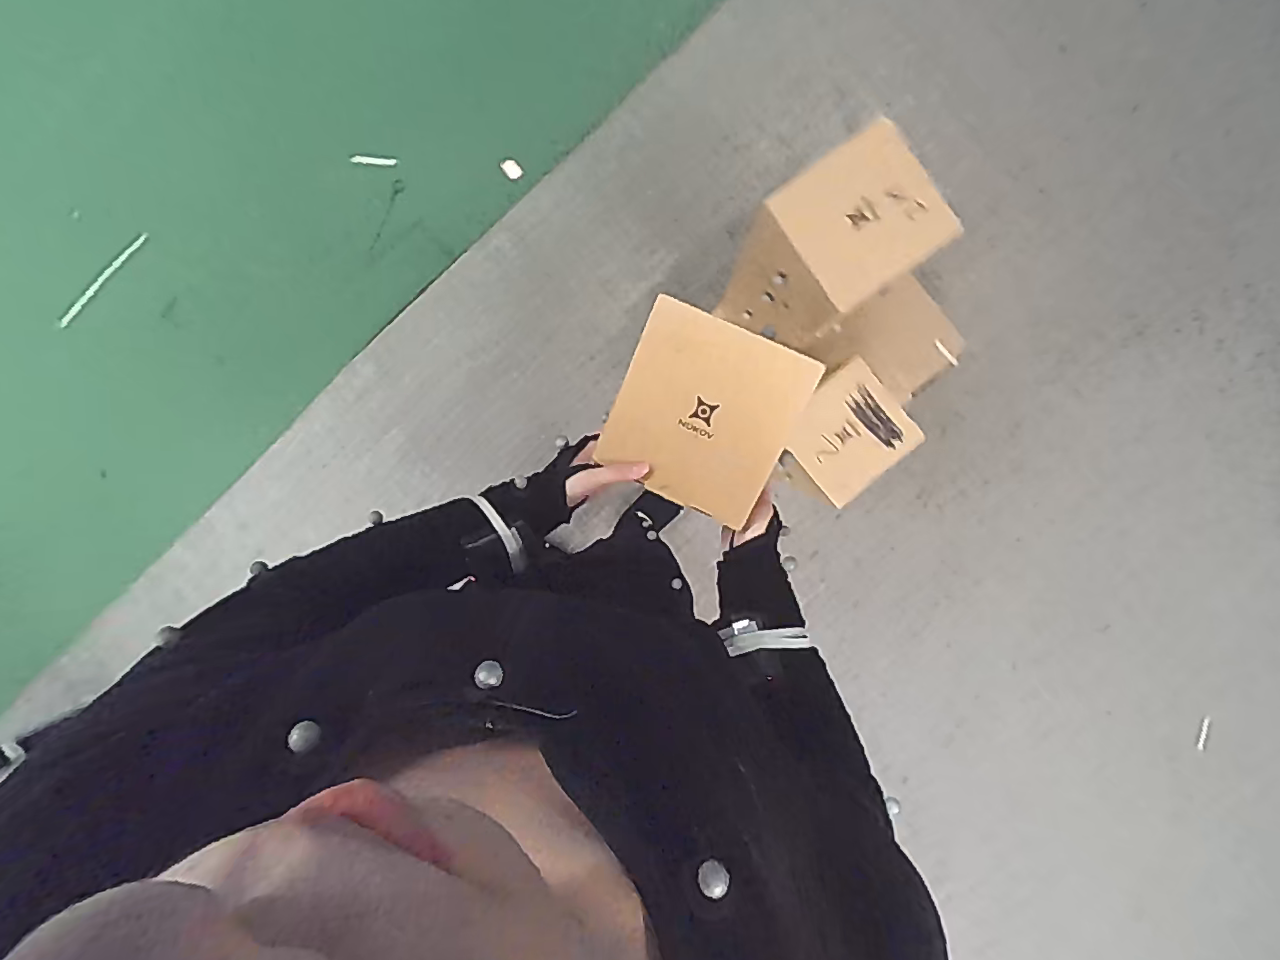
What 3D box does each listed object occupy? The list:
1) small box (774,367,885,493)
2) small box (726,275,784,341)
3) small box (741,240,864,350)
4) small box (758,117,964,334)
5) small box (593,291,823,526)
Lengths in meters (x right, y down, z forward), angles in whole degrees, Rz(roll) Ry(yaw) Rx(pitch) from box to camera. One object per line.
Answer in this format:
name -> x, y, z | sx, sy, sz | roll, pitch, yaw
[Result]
small box -> 0.335, -0.098, 1.066 | 0.168, 0.176, 0.179 | -41, 92, 3
small box -> 0.288, -0.353, 1.051 | 0.179, 0.176, 0.168 | -40, 91, 3
small box -> 0.284, -0.335, 0.884 | 0.168, 0.176, 0.179 | -41, 89, 4
small box -> 0.274, -0.319, 0.723 | 0.179, 0.176, 0.168 | -34, 92, 4
small box -> 0.072, -0.083, 0.582 | 0.168, 0.176, 0.179 | 25, 109, 5
